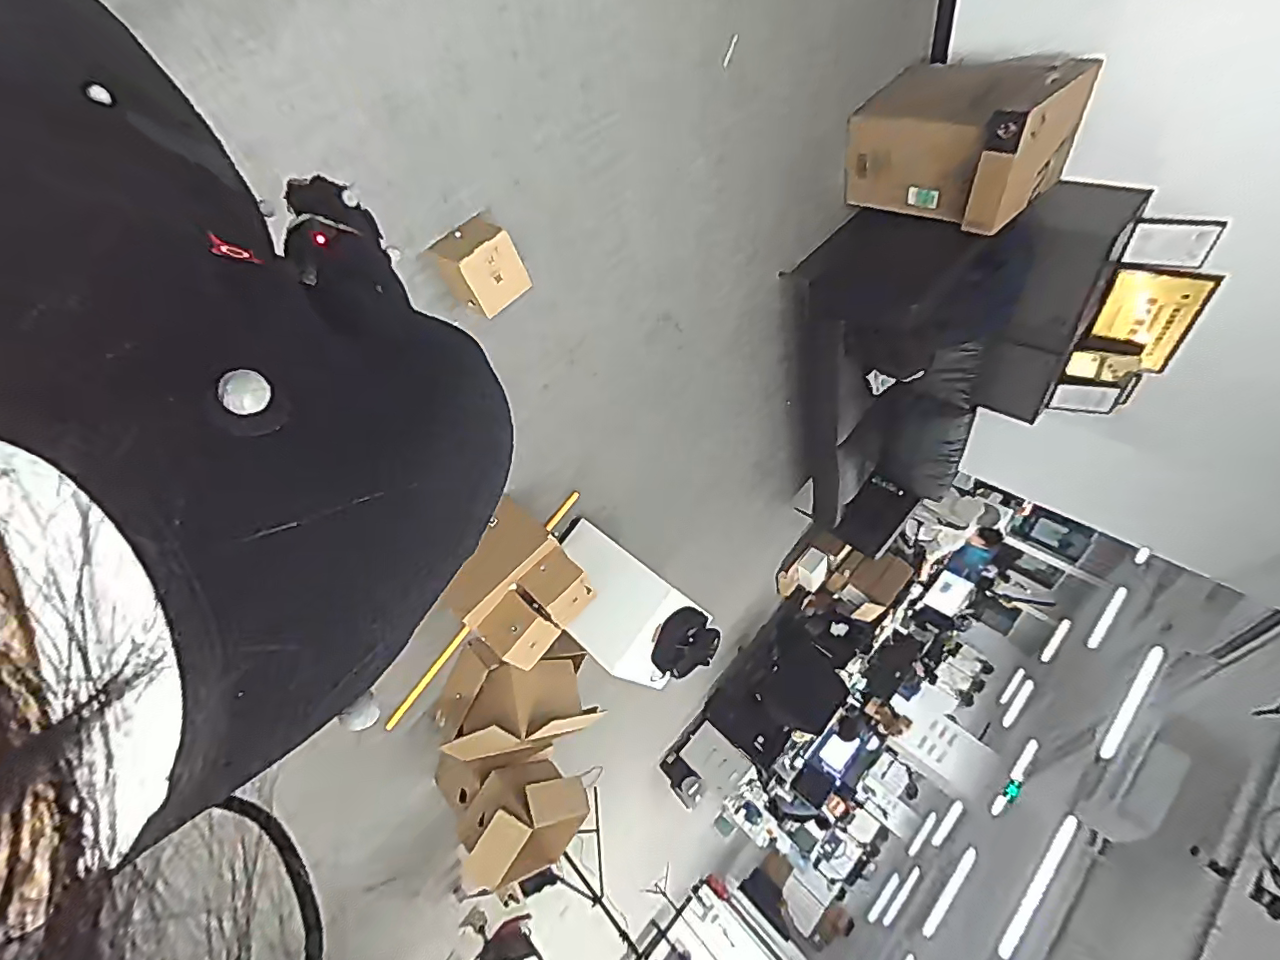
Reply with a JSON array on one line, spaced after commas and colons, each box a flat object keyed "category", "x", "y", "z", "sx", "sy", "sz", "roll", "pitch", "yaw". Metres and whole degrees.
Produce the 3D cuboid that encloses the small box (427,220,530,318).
[{"category": "small box", "x": -0.441, "y": -0.580, "z": 1.479, "sx": 0.168, "sy": 0.176, "sz": 0.179, "roll": -45, "pitch": 144, "yaw": -17}]
